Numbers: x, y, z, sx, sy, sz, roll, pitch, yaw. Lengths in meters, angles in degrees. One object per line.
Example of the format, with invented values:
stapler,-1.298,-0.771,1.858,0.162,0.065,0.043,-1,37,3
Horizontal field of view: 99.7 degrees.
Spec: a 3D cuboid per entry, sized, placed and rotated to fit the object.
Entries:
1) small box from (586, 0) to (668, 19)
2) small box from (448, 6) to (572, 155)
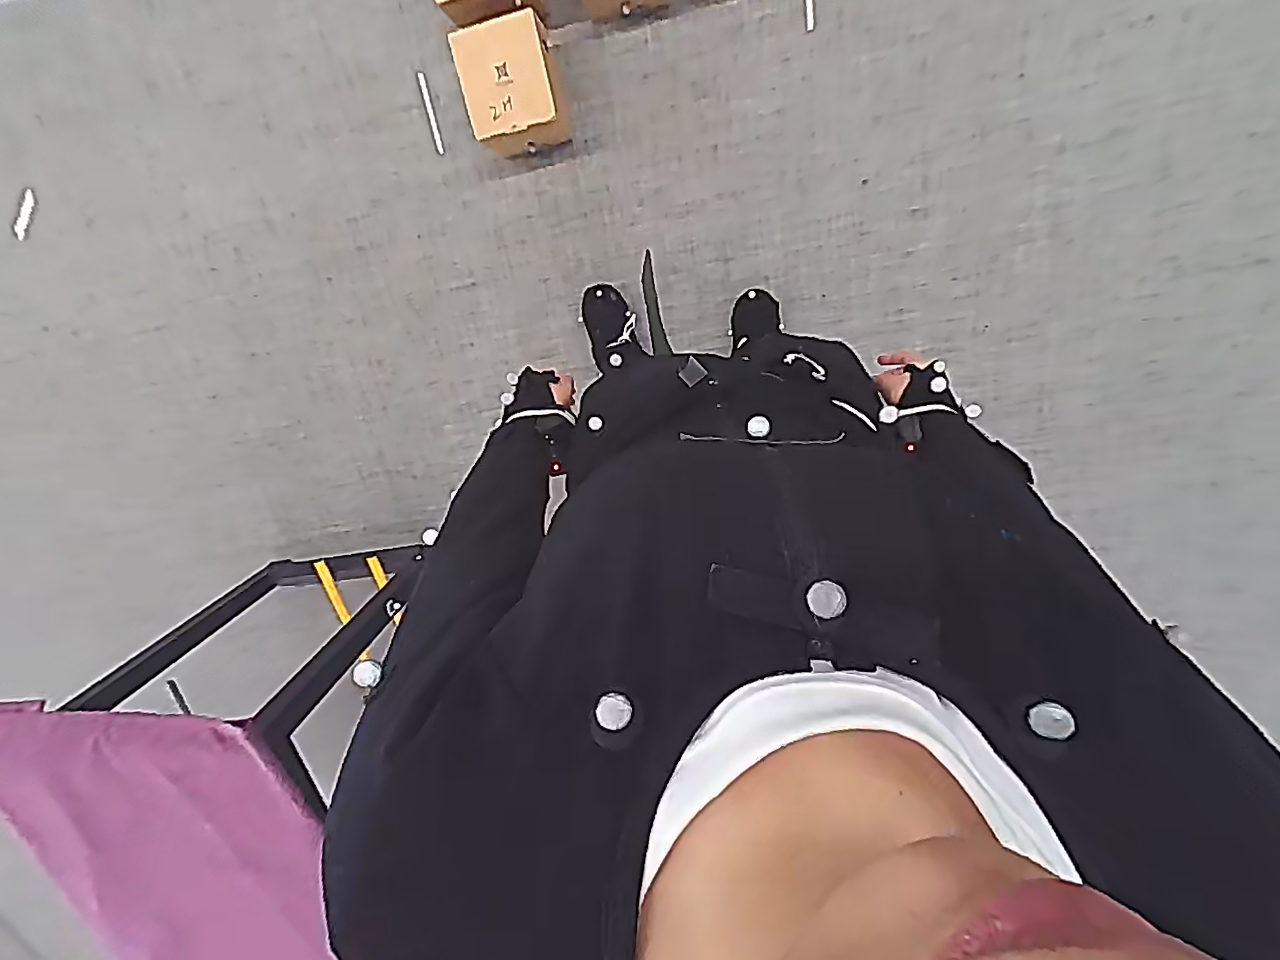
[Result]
small box,-0.037,-0.974,0.961,0.168,0.176,0.179,-6,111,7
small box,-0.244,-0.766,1.059,0.168,0.176,0.179,-9,110,9
